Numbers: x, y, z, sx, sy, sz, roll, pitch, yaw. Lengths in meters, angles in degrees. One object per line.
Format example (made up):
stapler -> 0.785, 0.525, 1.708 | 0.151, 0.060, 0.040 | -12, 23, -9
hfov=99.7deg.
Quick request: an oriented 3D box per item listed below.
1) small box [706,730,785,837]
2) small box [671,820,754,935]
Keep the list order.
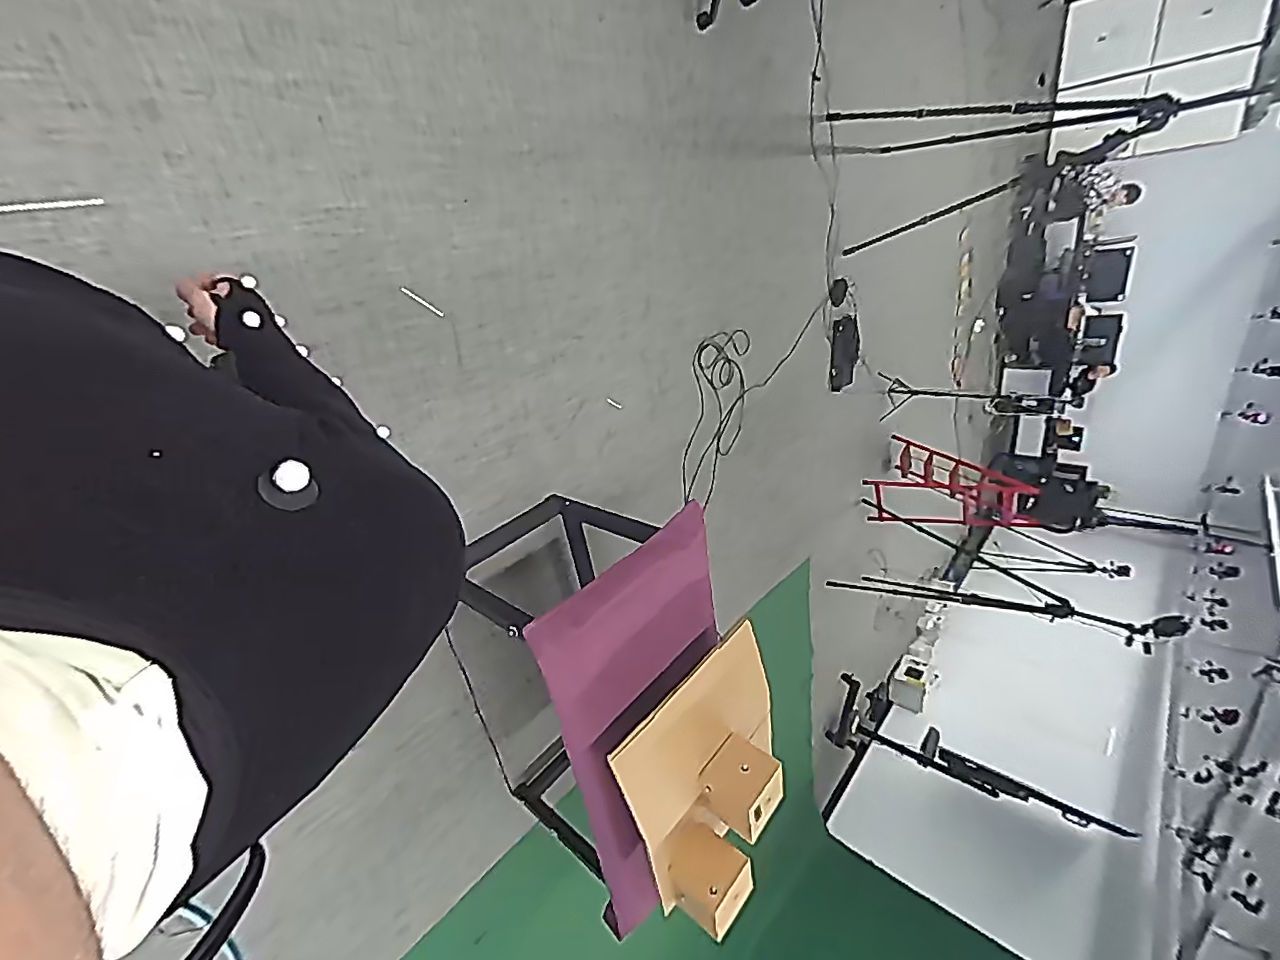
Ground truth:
small box -> 0.305, 0.885, 1.589 | 0.179, 0.176, 0.168 | -34, 127, -37
small box -> 0.214, 1.150, 1.579 | 0.179, 0.176, 0.168 | -33, 126, -36
